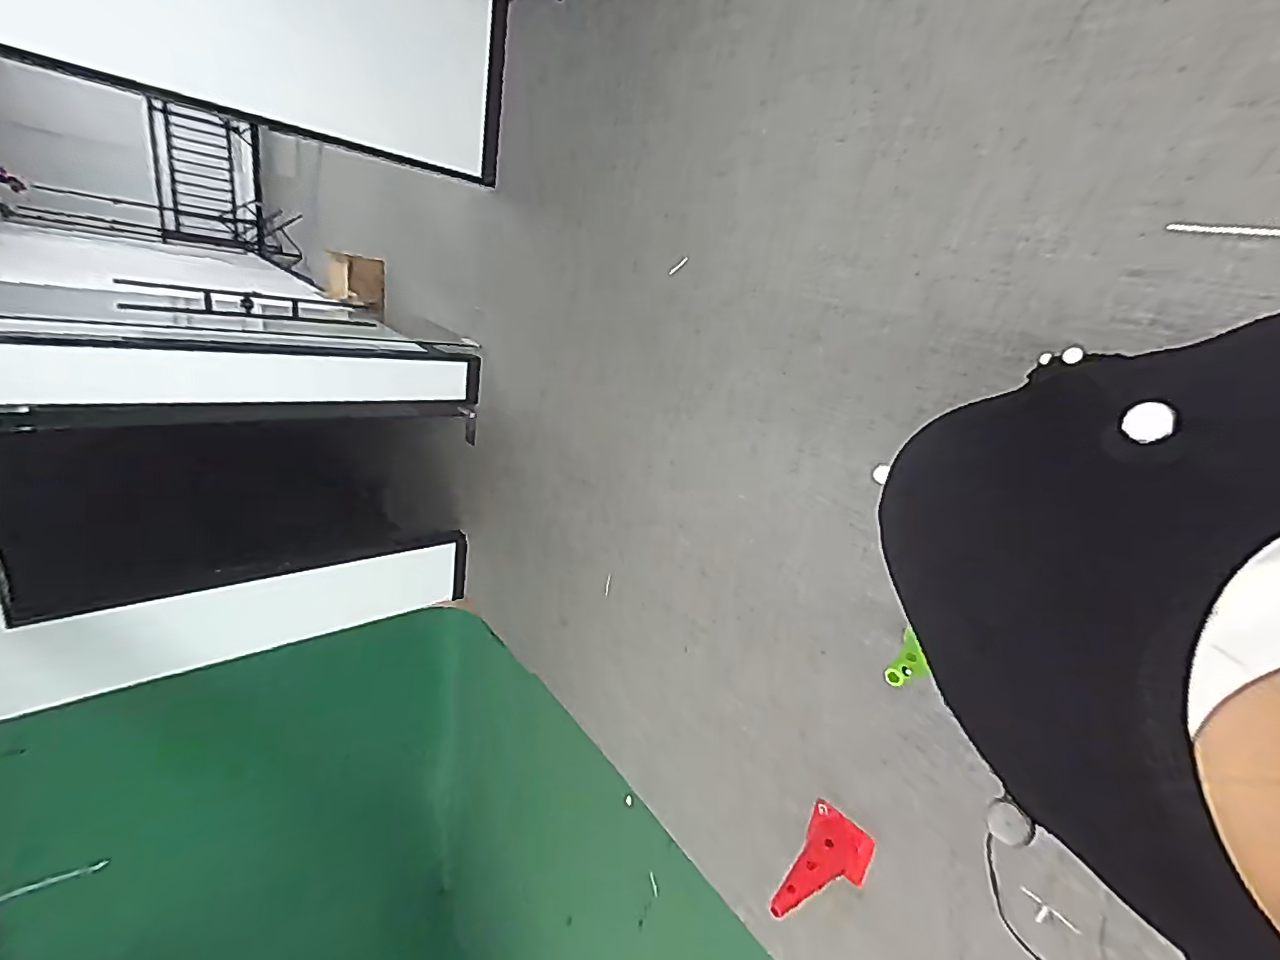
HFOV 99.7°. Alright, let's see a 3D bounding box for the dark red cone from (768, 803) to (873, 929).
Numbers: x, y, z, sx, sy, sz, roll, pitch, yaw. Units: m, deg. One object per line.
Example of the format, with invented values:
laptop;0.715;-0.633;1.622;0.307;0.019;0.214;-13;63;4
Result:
dark red cone;0.508;1.180;1.609;0.202;0.394;0.201;24;115;44
